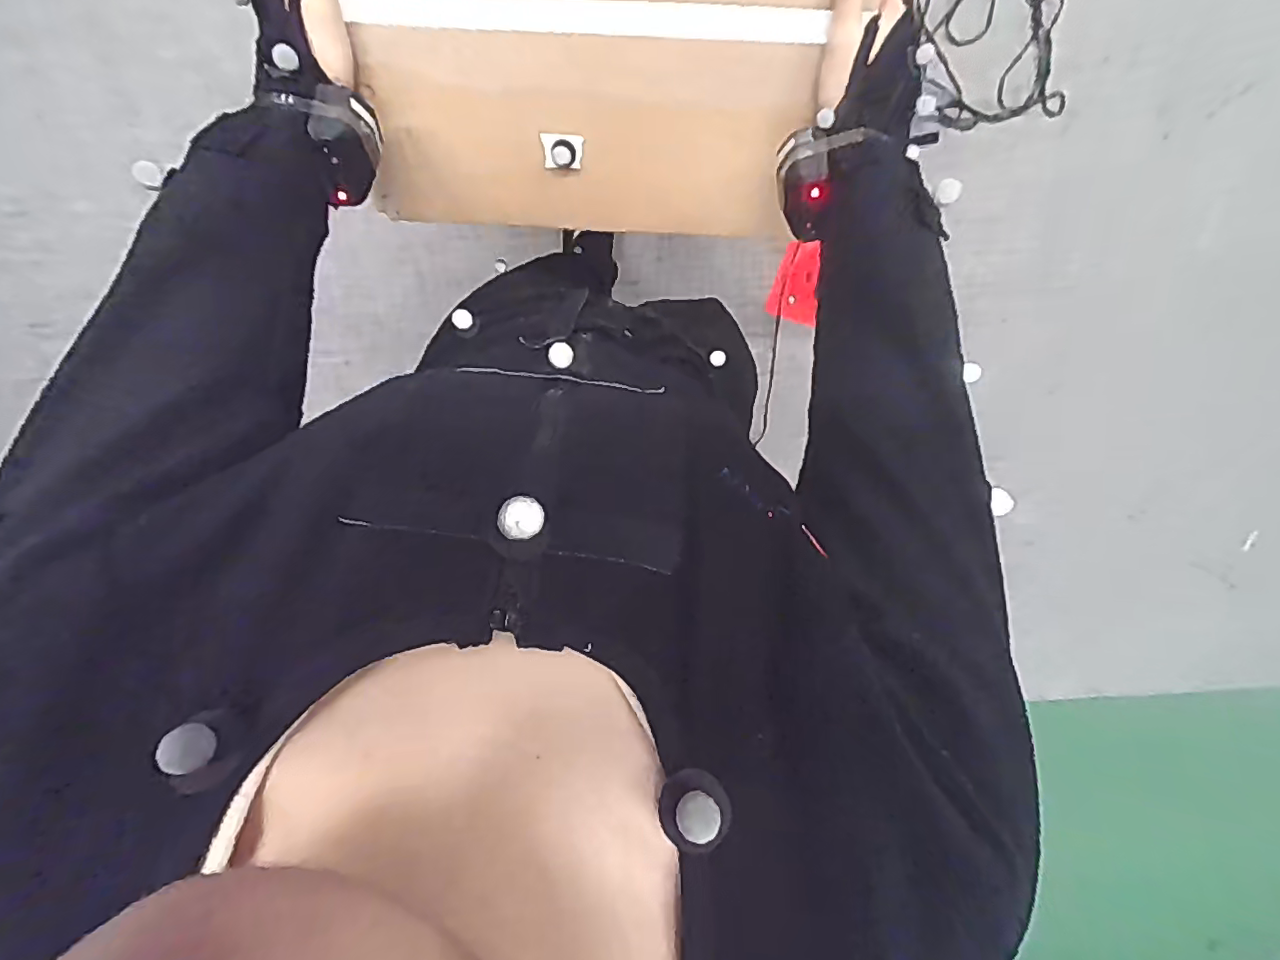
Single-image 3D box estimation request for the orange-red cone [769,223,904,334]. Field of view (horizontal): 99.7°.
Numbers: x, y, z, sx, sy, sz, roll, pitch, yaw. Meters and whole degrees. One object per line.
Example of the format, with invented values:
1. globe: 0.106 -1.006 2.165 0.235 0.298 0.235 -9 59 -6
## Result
1. orange-red cone: 0.409 -0.365 1.038 0.199 0.360 0.198 15 114 -9
